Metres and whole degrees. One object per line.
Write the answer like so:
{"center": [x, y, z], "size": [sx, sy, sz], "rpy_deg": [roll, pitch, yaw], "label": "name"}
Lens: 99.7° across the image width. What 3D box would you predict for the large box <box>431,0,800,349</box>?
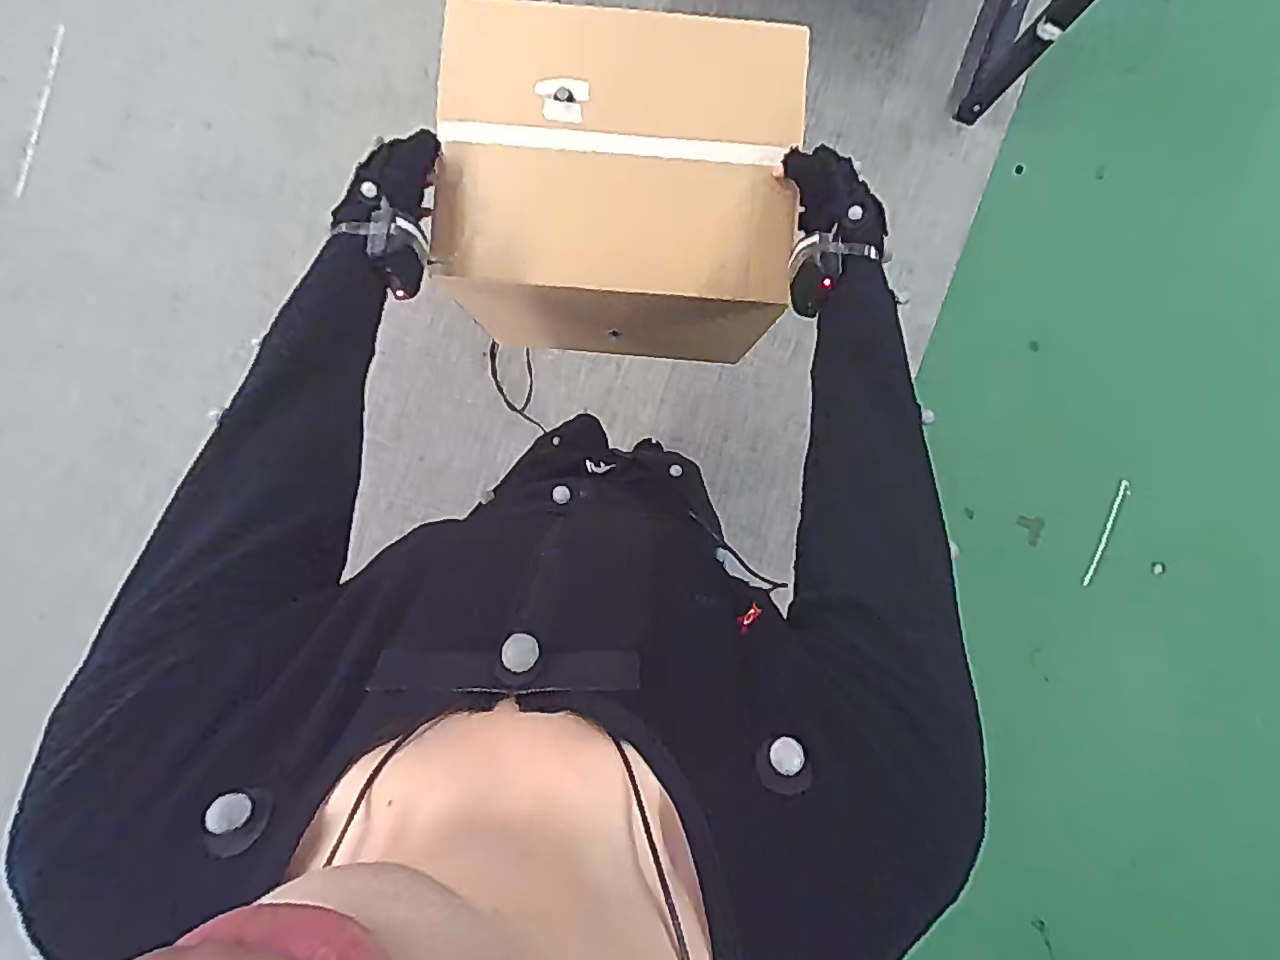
{"center": [-0.026, -0.371, 0.745], "size": [0.408, 0.320, 0.320], "rpy_deg": [4, 90, 0], "label": "large box"}
